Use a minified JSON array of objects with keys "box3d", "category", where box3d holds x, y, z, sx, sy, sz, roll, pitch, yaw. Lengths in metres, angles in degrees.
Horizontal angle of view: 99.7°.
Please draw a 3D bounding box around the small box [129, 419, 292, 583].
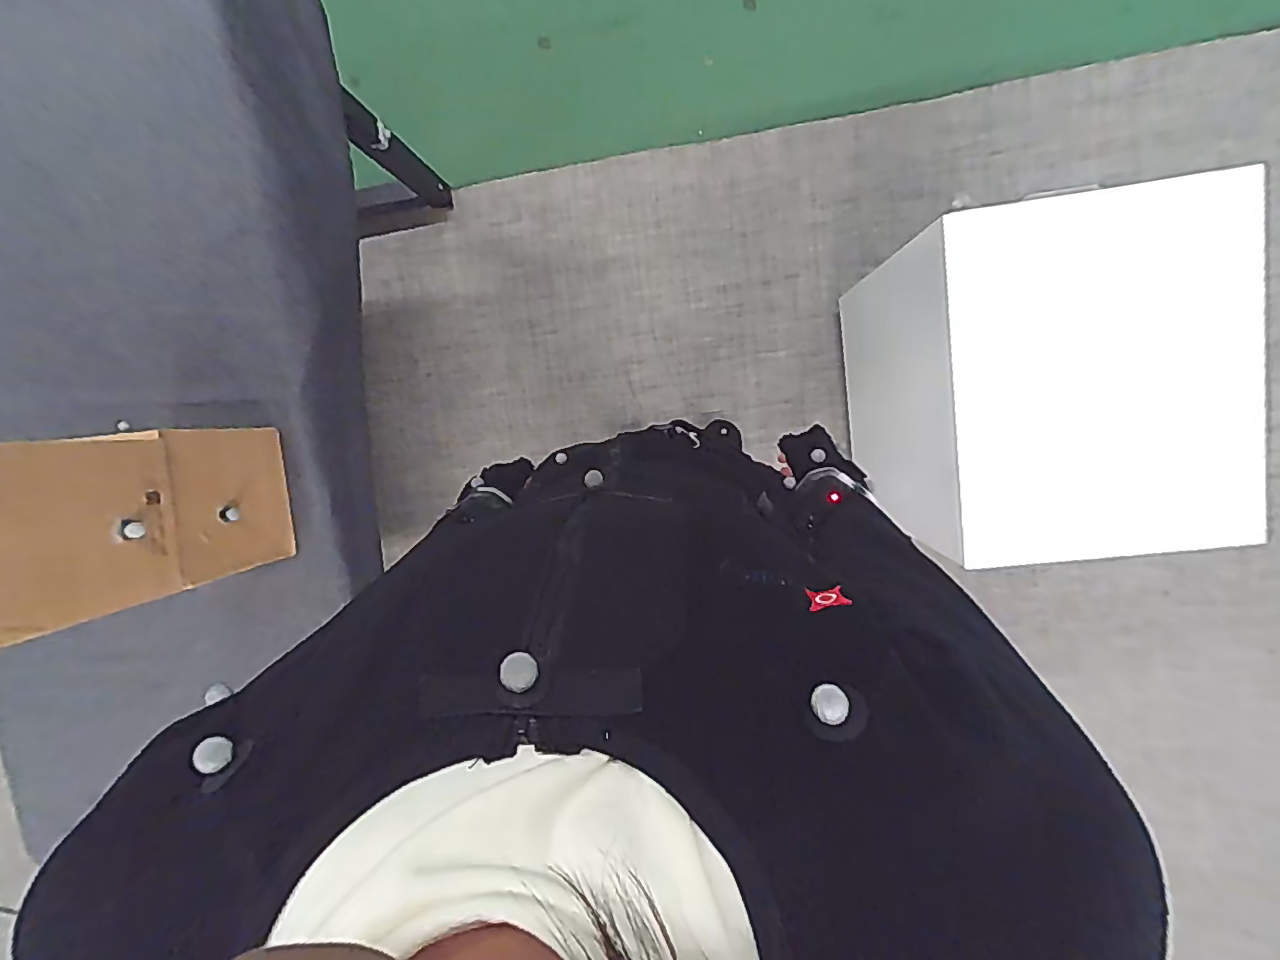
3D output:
[{"box3d":[-0.572,0.019,0.673,0.168,0.176,0.179,-4,97,8],"category":"small box"}]
